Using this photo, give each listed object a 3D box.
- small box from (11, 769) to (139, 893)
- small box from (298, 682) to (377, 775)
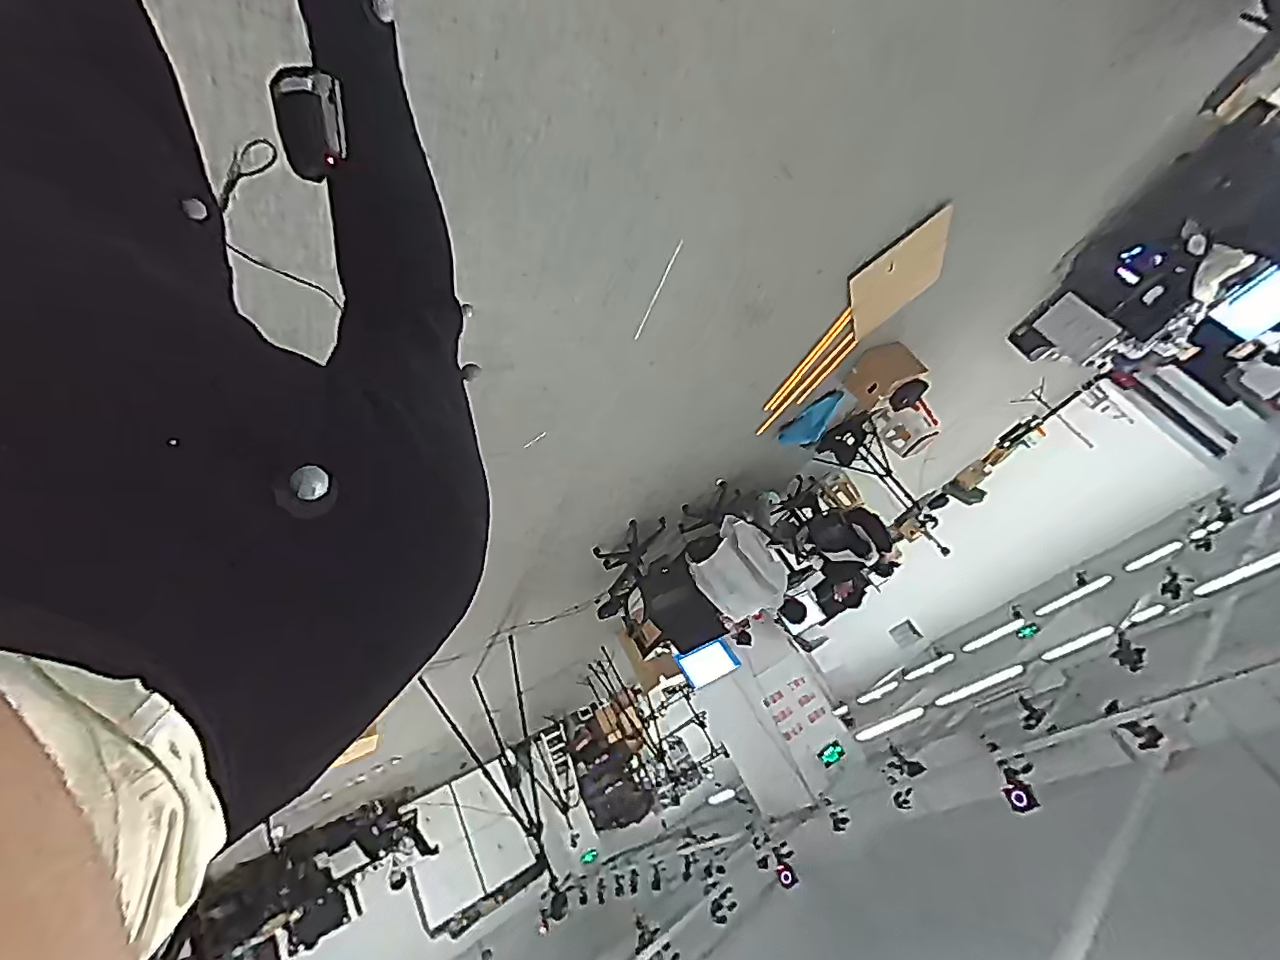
[{"bbox_3d":[-1.267,0.782,1.217,0.168,0.176,0.179,-12,148,-36],"label":"small box"},{"bbox_3d":[-0.857,0.701,1.536,0.168,0.176,0.179,-12,148,-35],"label":"small box"}]
